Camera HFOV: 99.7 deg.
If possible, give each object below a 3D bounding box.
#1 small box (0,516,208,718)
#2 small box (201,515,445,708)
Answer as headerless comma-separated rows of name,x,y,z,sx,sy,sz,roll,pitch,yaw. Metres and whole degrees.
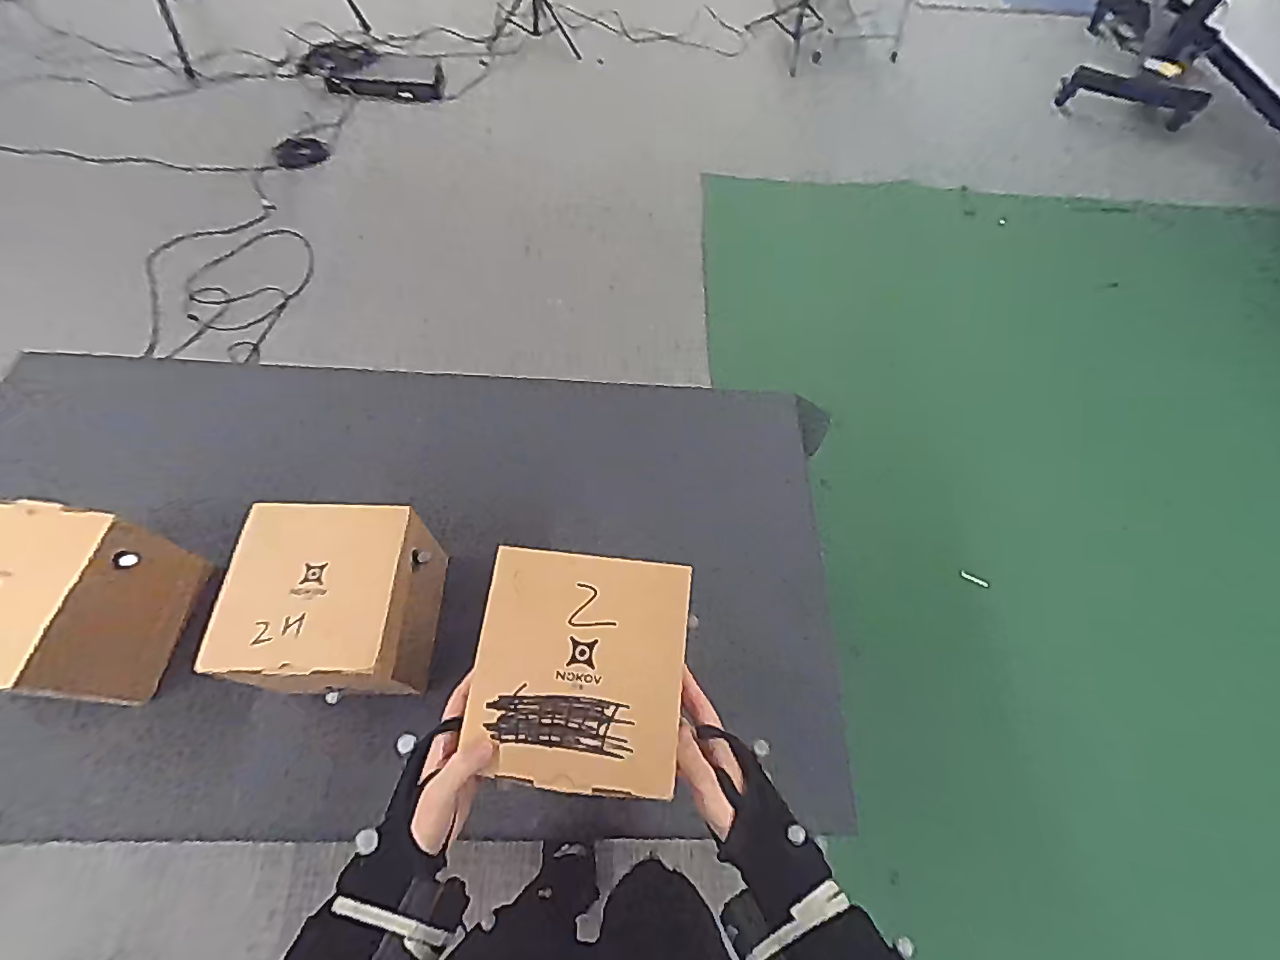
small box,-0.634,0.156,0.593,0.168,0.176,0.179,6,60,-1
small box,-0.332,0.154,0.615,0.168,0.176,0.179,1,61,-3
